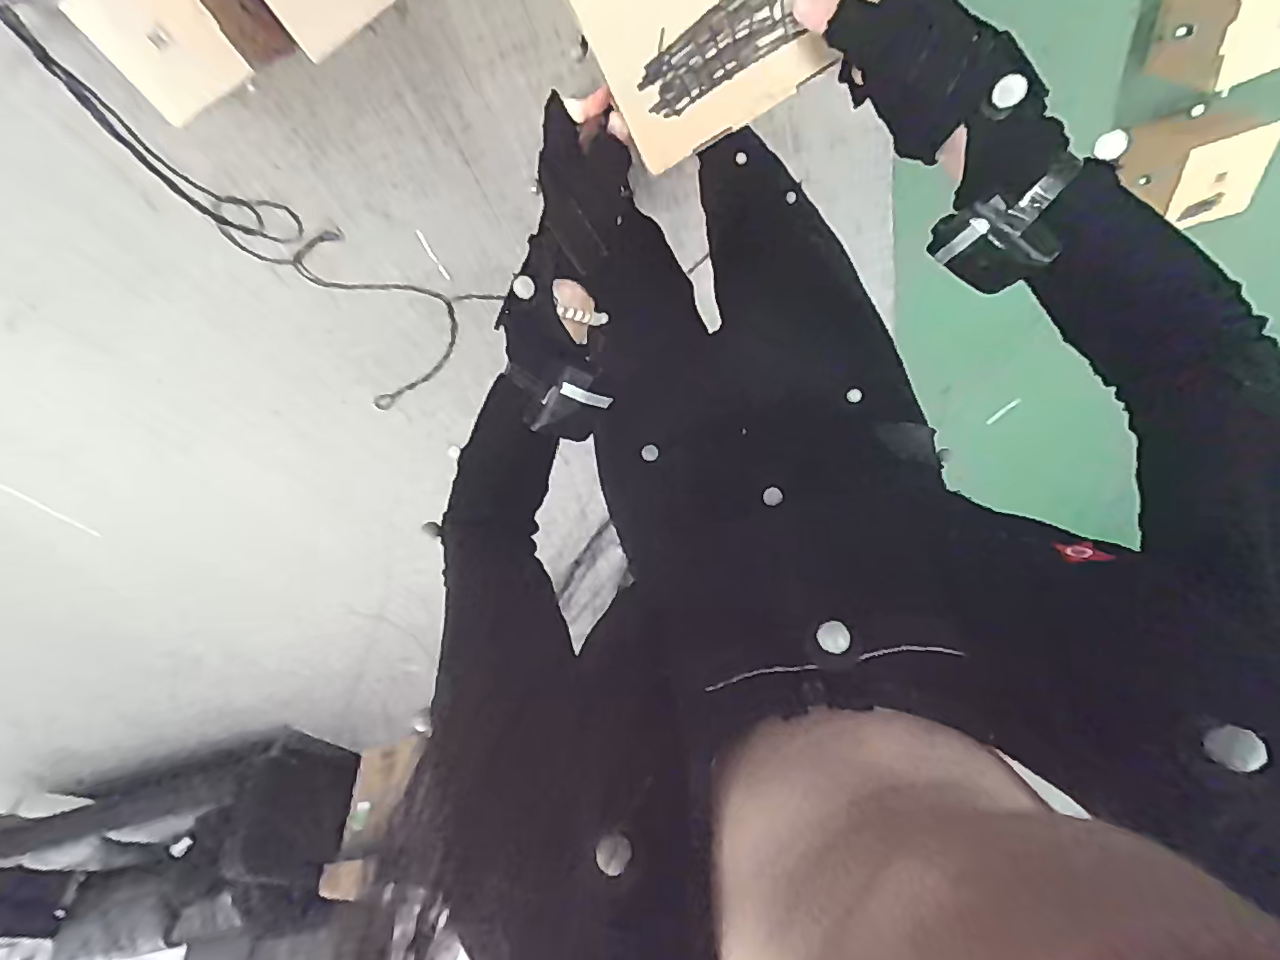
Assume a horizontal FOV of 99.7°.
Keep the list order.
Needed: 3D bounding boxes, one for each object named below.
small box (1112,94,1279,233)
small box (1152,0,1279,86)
[{"bbox_3d":[1.128,-0.649,1.110,0.168,0.176,0.179,-16,137,9],"label":"small box"},{"bbox_3d":[1.041,-0.813,0.918,0.179,0.176,0.168,-17,137,12],"label":"small box"}]
